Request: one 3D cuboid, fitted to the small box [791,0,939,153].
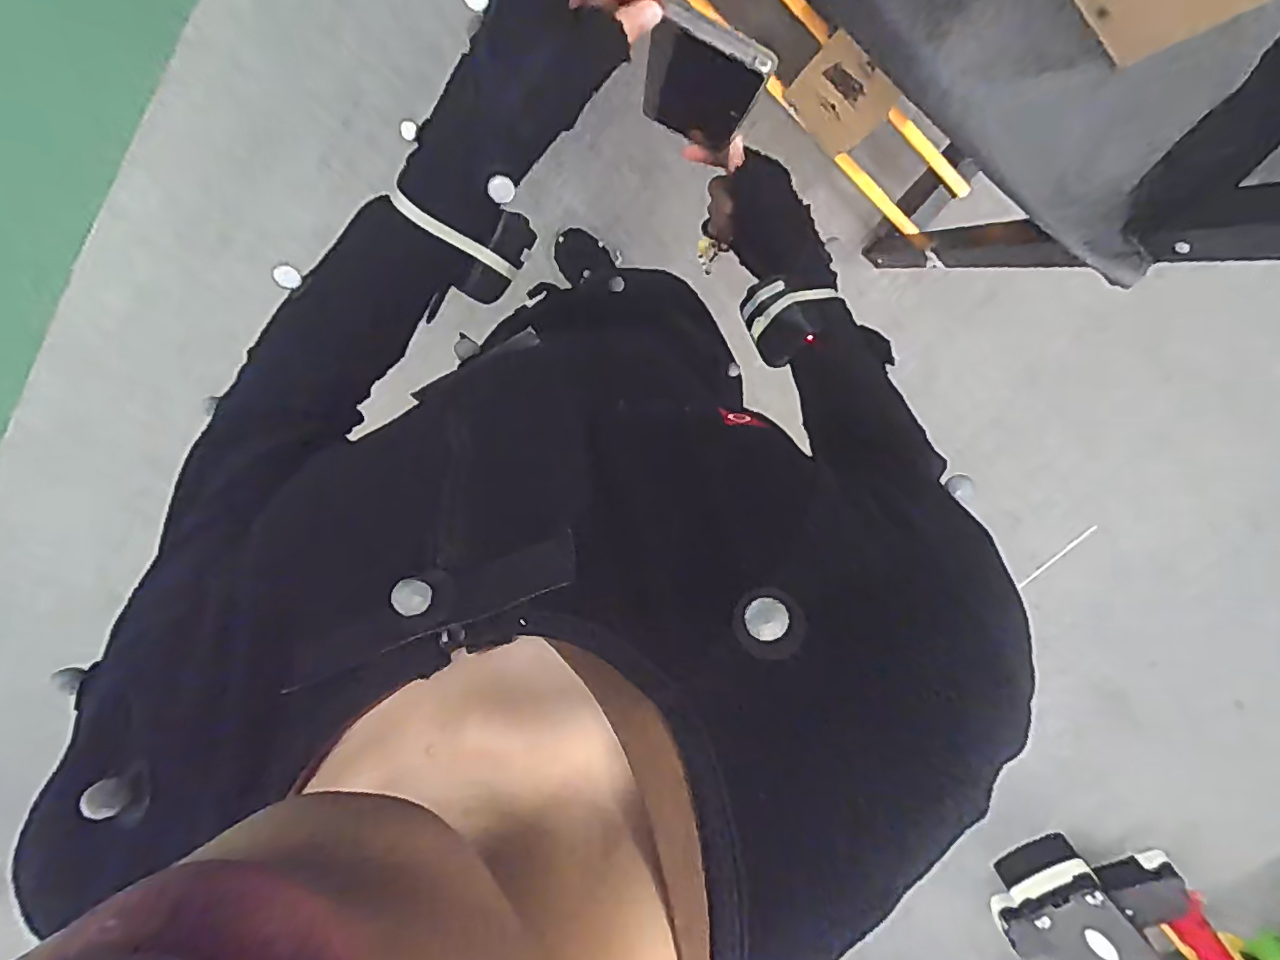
[{"bbox_3d":[0.407,-0.756,1.018,0.168,0.176,0.179,41,106,-15],"label":"small box"}]
